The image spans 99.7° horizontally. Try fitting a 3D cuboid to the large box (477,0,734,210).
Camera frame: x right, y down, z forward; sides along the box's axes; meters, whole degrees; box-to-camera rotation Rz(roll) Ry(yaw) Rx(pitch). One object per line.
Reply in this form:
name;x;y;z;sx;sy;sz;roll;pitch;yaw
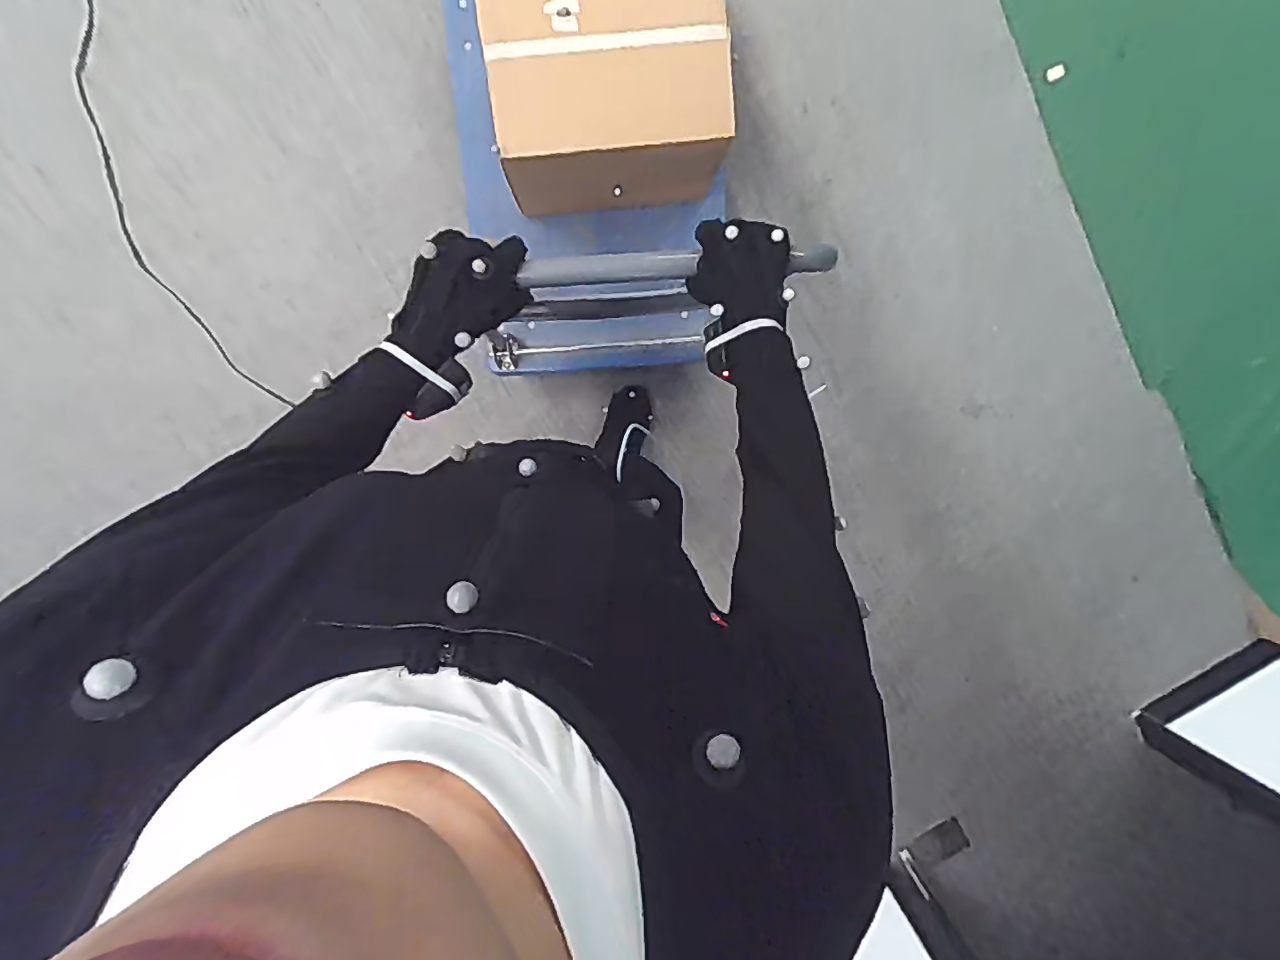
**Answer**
large box;-0.063;-0.742;1.031;0.408;0.320;0.320;-7;99;-3
